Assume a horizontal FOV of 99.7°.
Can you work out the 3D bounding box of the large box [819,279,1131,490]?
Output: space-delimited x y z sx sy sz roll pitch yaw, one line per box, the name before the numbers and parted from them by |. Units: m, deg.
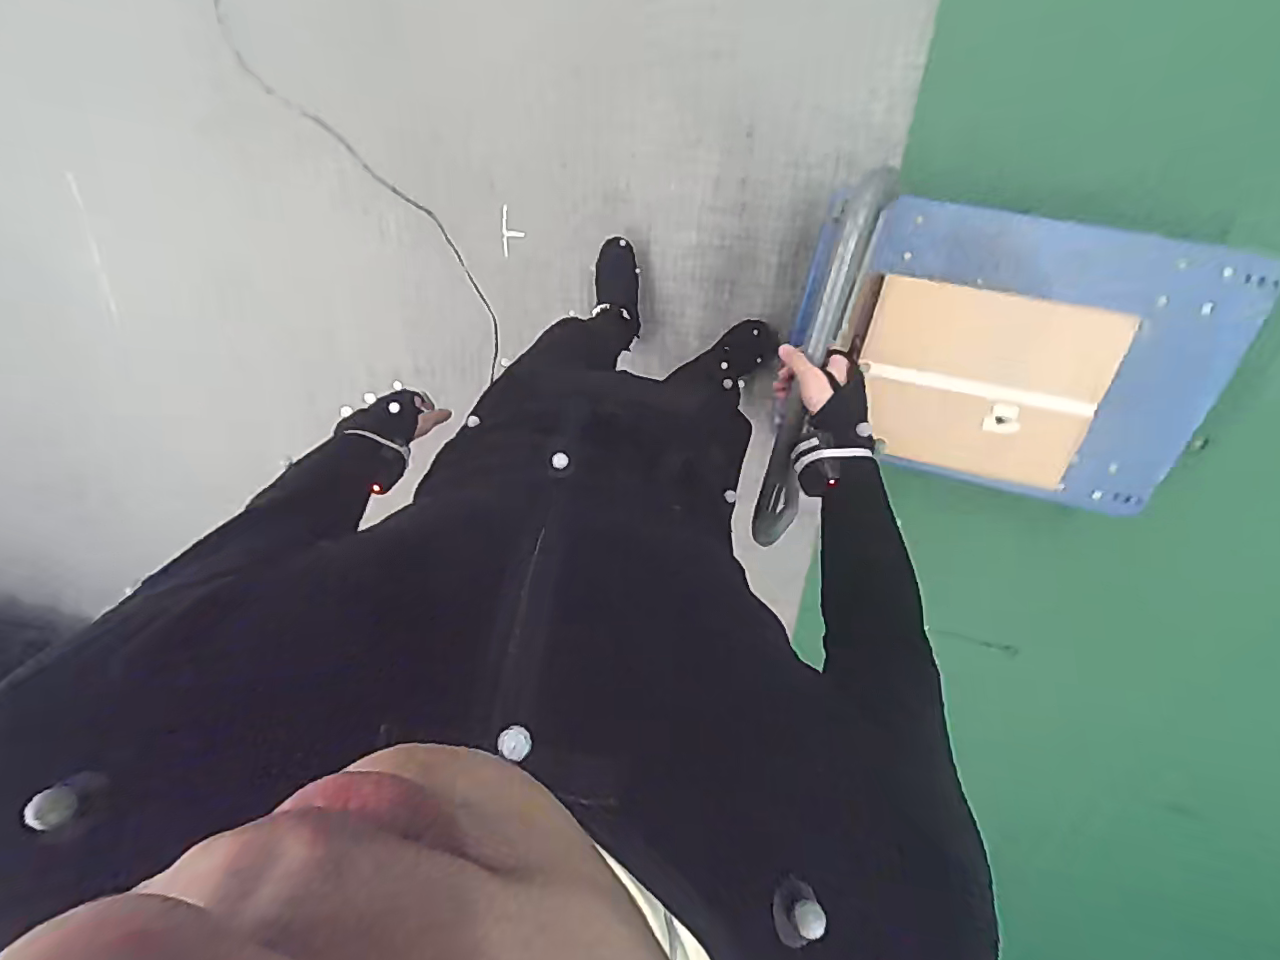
large box | 0.616 -0.216 1.100 0.408 0.320 0.320 14 115 7
